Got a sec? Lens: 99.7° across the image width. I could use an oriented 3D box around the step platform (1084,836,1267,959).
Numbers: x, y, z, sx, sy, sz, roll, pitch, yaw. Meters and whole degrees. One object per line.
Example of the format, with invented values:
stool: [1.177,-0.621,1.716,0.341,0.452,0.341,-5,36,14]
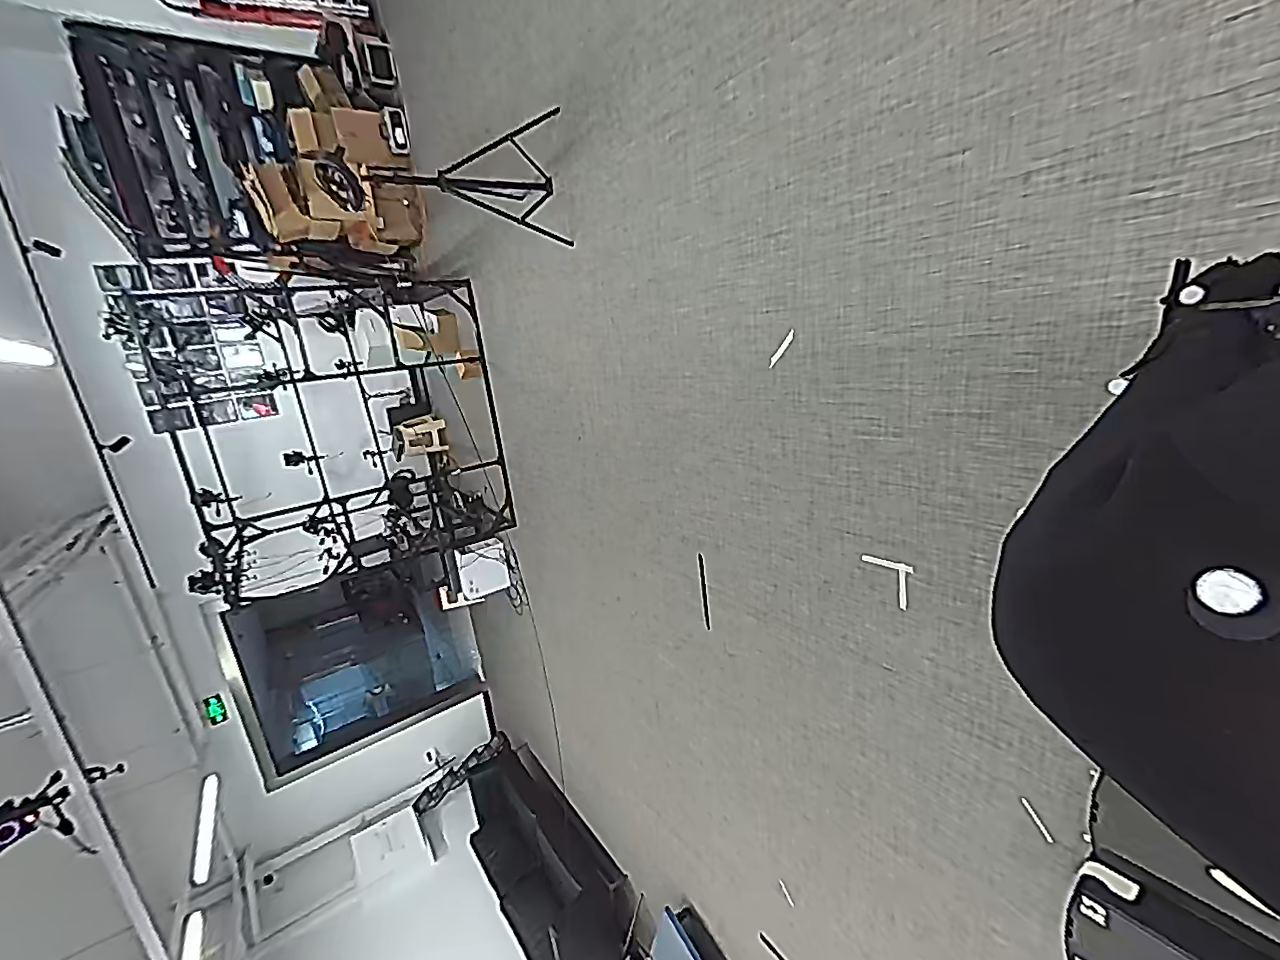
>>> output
step platform: [1.335,1.085,1.086,0.684,0.204,0.286,14,115,56]
